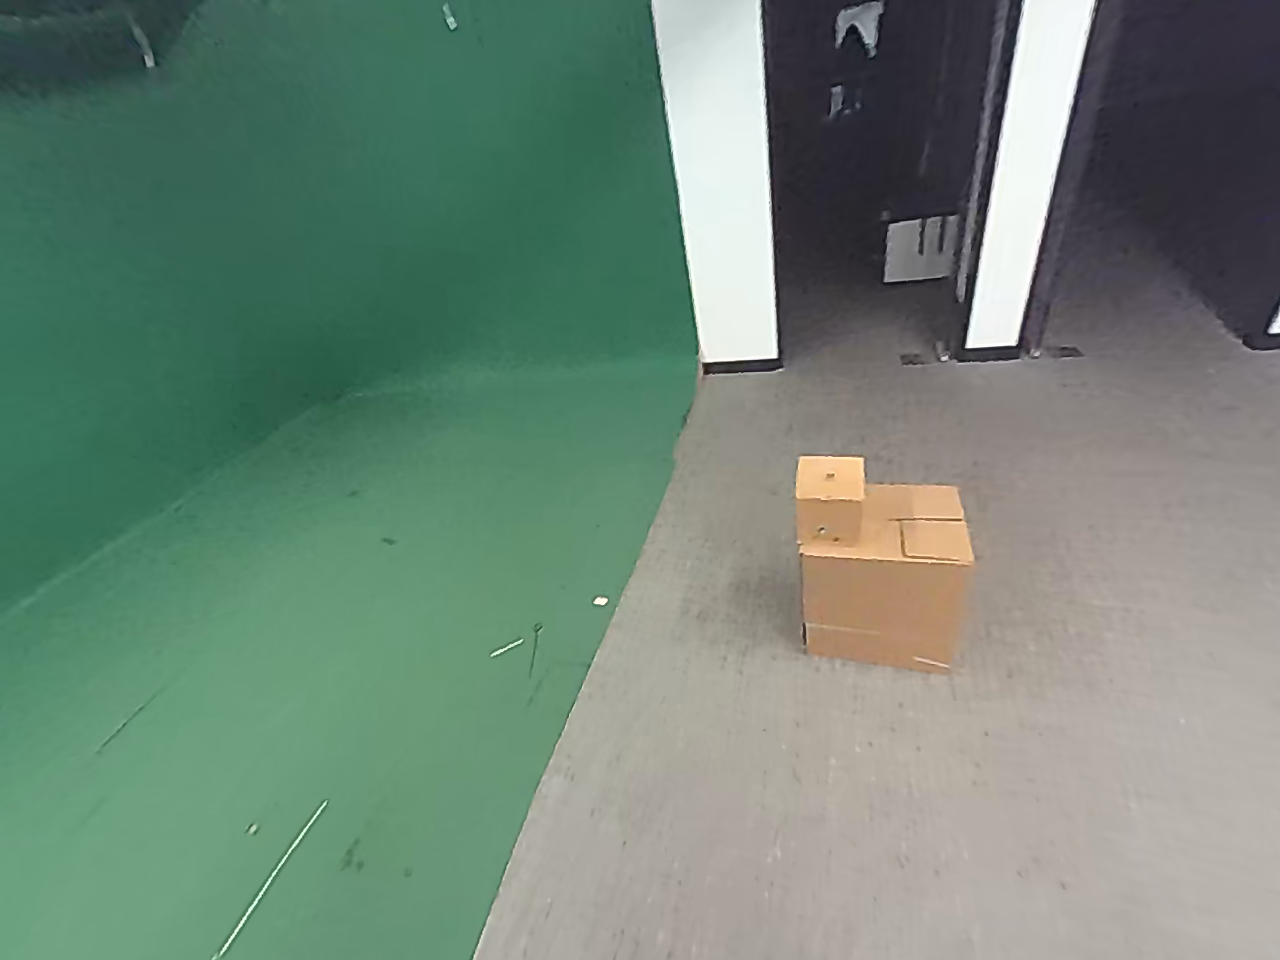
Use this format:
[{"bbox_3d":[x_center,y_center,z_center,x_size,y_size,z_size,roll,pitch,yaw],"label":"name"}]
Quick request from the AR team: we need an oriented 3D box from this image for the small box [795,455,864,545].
[{"bbox_3d":[0.506,0.052,1.451,0.168,0.176,0.179,2,41,19],"label":"small box"}]
